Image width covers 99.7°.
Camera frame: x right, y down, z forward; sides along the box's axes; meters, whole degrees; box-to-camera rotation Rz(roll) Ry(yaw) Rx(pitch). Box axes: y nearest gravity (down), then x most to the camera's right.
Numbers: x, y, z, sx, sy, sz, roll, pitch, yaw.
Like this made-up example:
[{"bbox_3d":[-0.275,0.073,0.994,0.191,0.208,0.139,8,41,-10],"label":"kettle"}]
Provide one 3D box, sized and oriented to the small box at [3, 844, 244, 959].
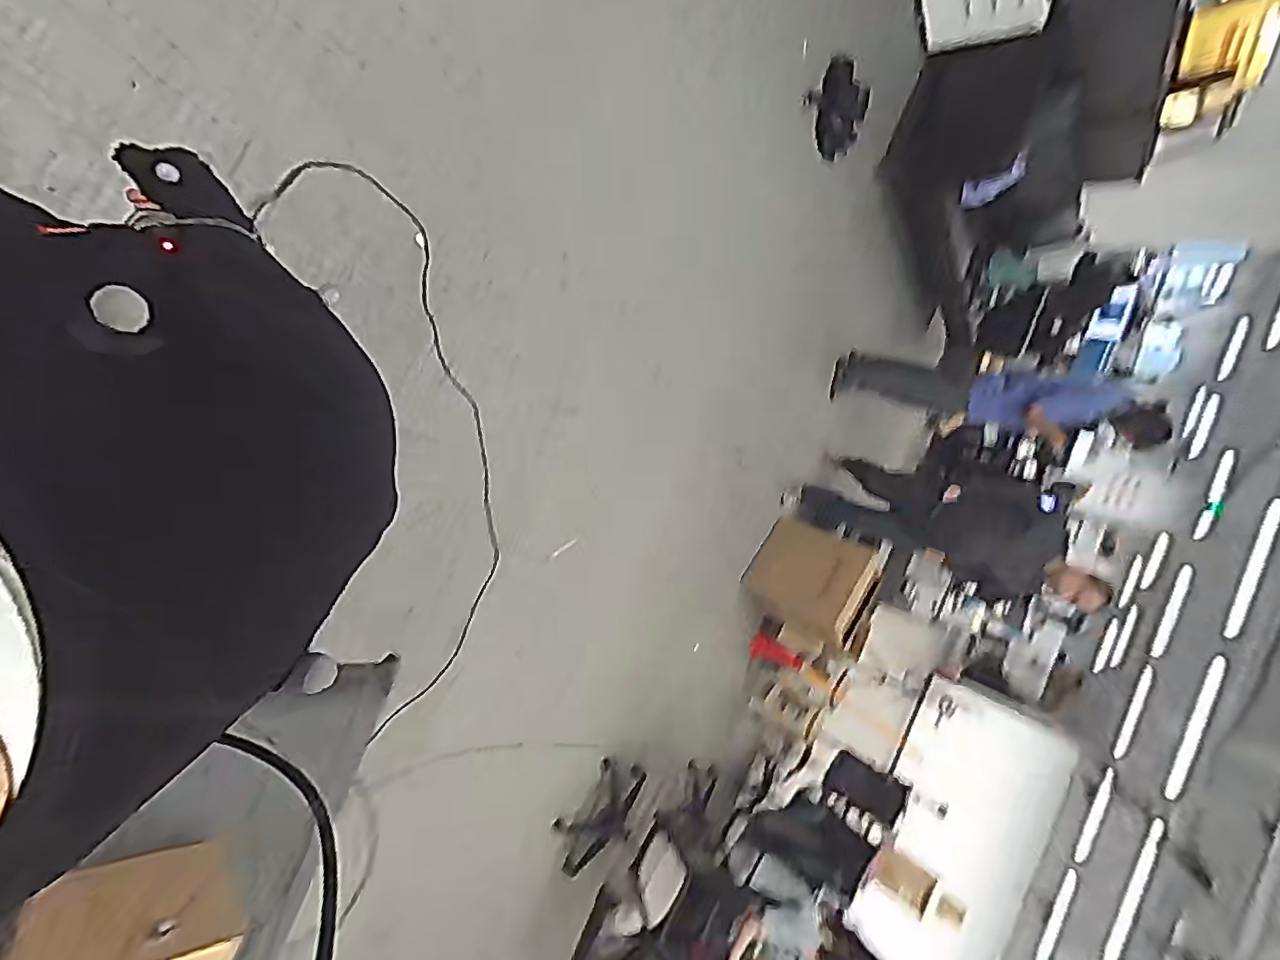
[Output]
[{"bbox_3d":[-0.621,0.579,0.643,0.179,0.176,0.168,22,89,-51],"label":"small box"}]
